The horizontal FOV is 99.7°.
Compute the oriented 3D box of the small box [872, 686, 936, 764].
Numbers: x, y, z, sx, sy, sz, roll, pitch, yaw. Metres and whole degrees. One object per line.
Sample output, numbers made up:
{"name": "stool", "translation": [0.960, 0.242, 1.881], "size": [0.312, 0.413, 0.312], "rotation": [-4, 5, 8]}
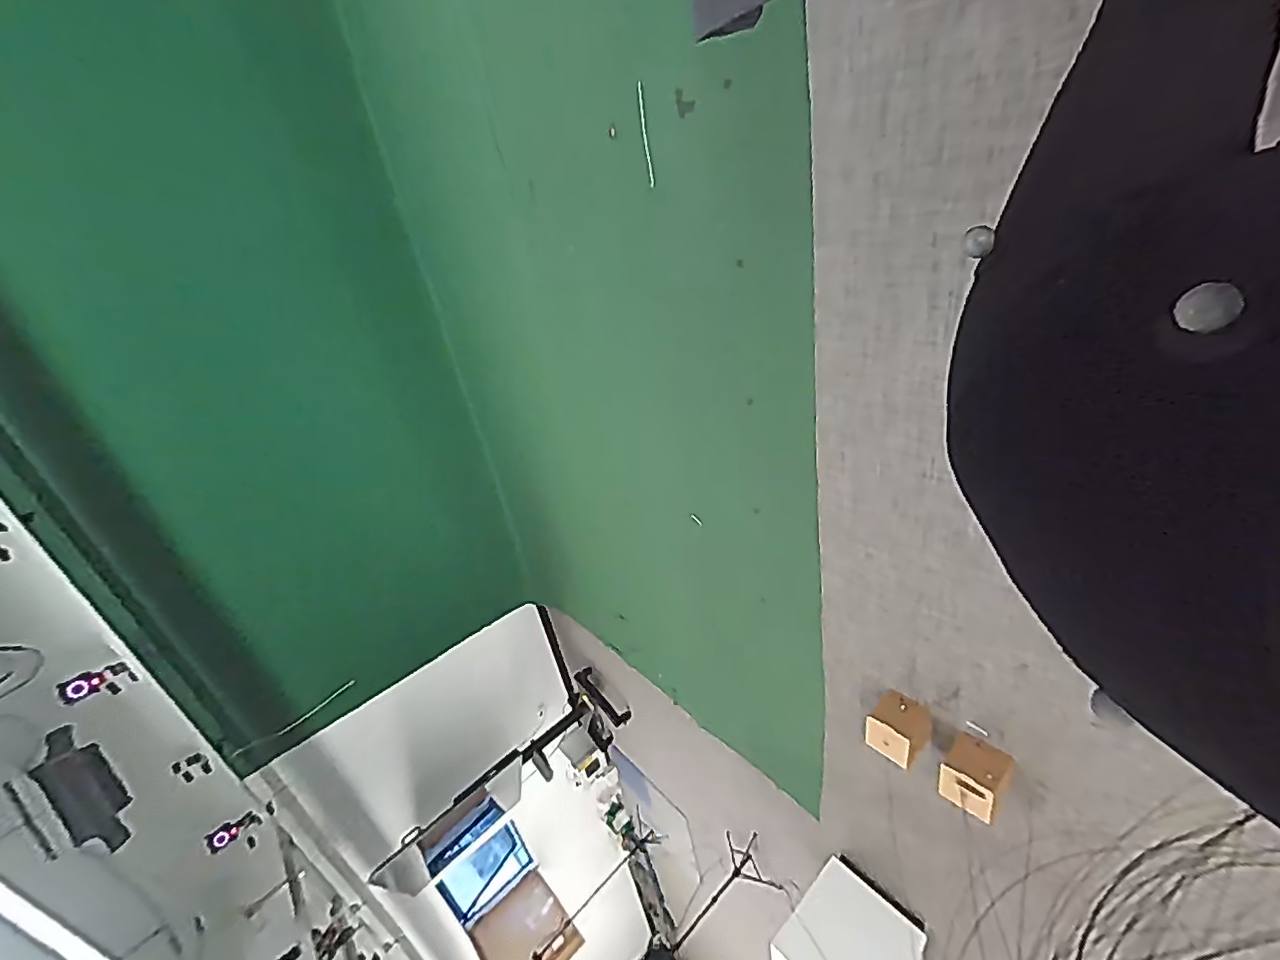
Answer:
{"name": "small box", "translation": [1.016, 0.938, 2.081], "size": [0.168, 0.176, 0.179], "rotation": [23, 132, 46]}
